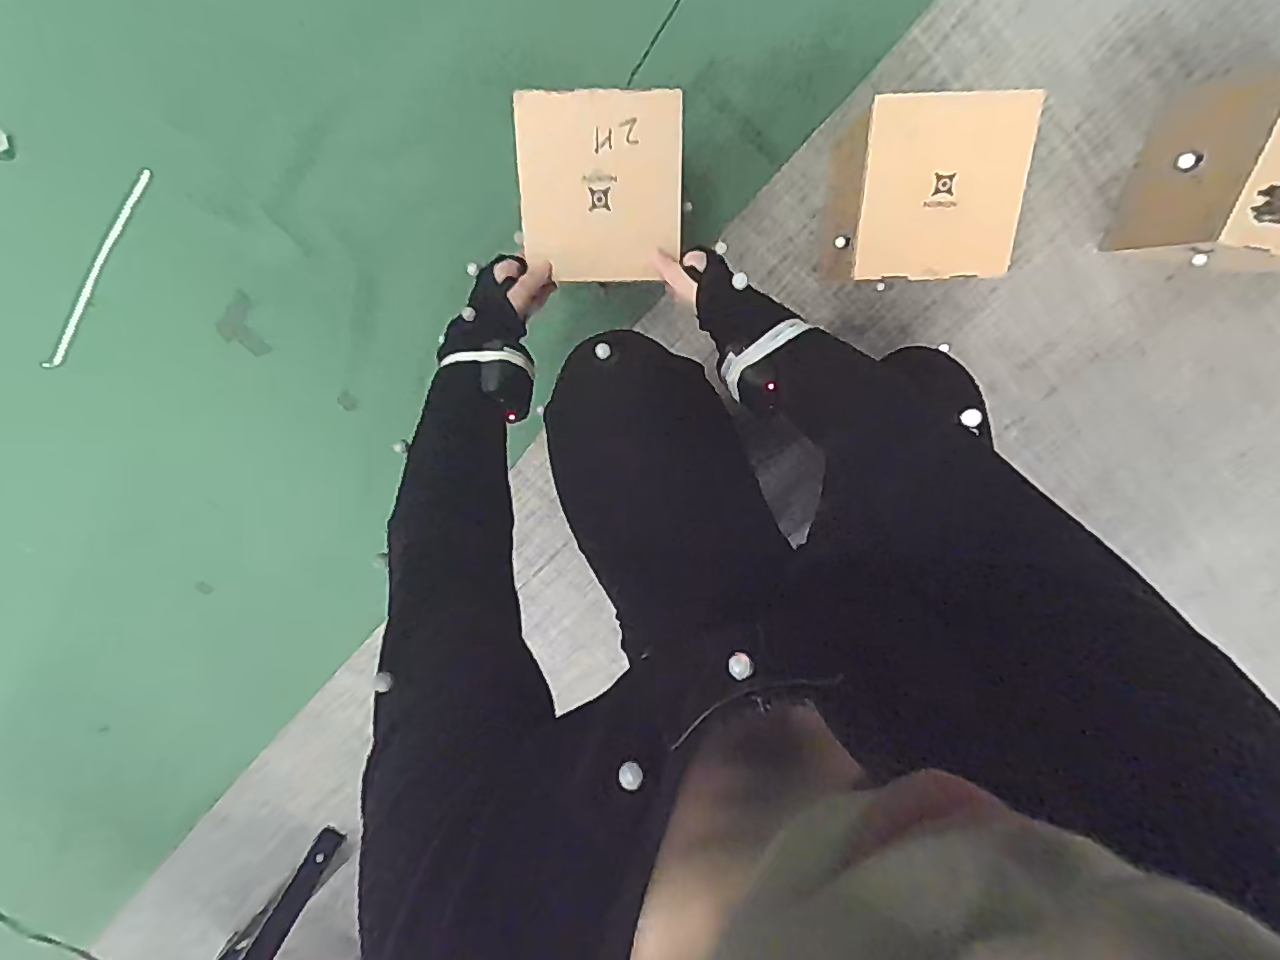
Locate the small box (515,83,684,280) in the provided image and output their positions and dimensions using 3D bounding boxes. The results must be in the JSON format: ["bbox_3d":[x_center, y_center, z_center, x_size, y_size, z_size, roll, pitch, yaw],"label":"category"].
[{"bbox_3d":[-0.040,-0.324,0.620,0.168,0.176,0.179,0,109,-1],"label":"small box"}]

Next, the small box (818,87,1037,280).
[{"bbox_3d":[0.318,-0.333,0.641,0.168,0.176,0.179,0,110,4],"label":"small box"}]
